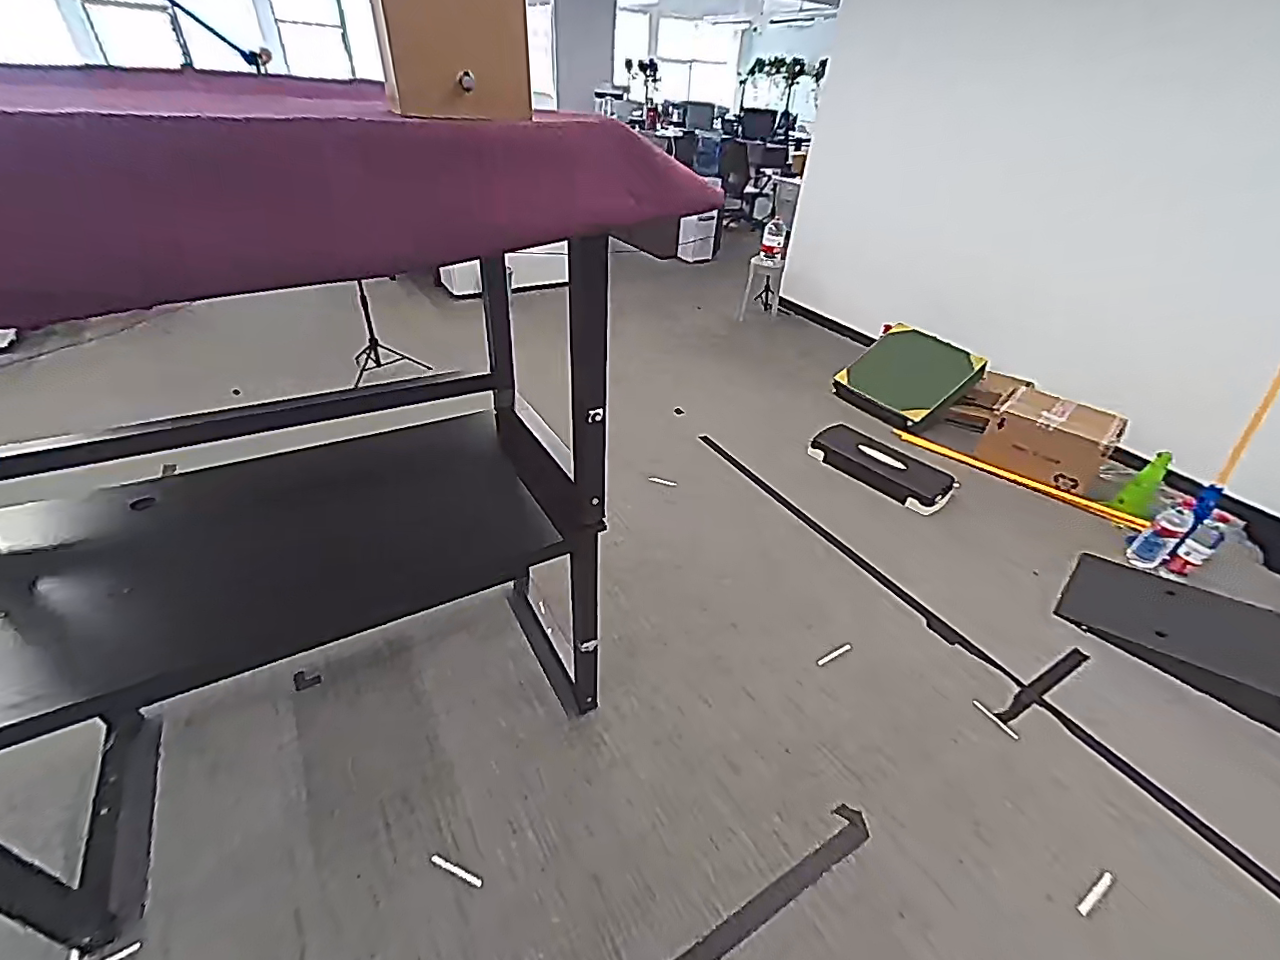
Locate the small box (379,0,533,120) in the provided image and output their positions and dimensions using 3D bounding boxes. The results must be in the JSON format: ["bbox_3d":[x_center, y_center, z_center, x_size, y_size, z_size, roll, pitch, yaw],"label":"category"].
[{"bbox_3d":[-0.248,-0.595,0.732,0.179,0.176,0.168,-13,38,-22],"label":"small box"}]
